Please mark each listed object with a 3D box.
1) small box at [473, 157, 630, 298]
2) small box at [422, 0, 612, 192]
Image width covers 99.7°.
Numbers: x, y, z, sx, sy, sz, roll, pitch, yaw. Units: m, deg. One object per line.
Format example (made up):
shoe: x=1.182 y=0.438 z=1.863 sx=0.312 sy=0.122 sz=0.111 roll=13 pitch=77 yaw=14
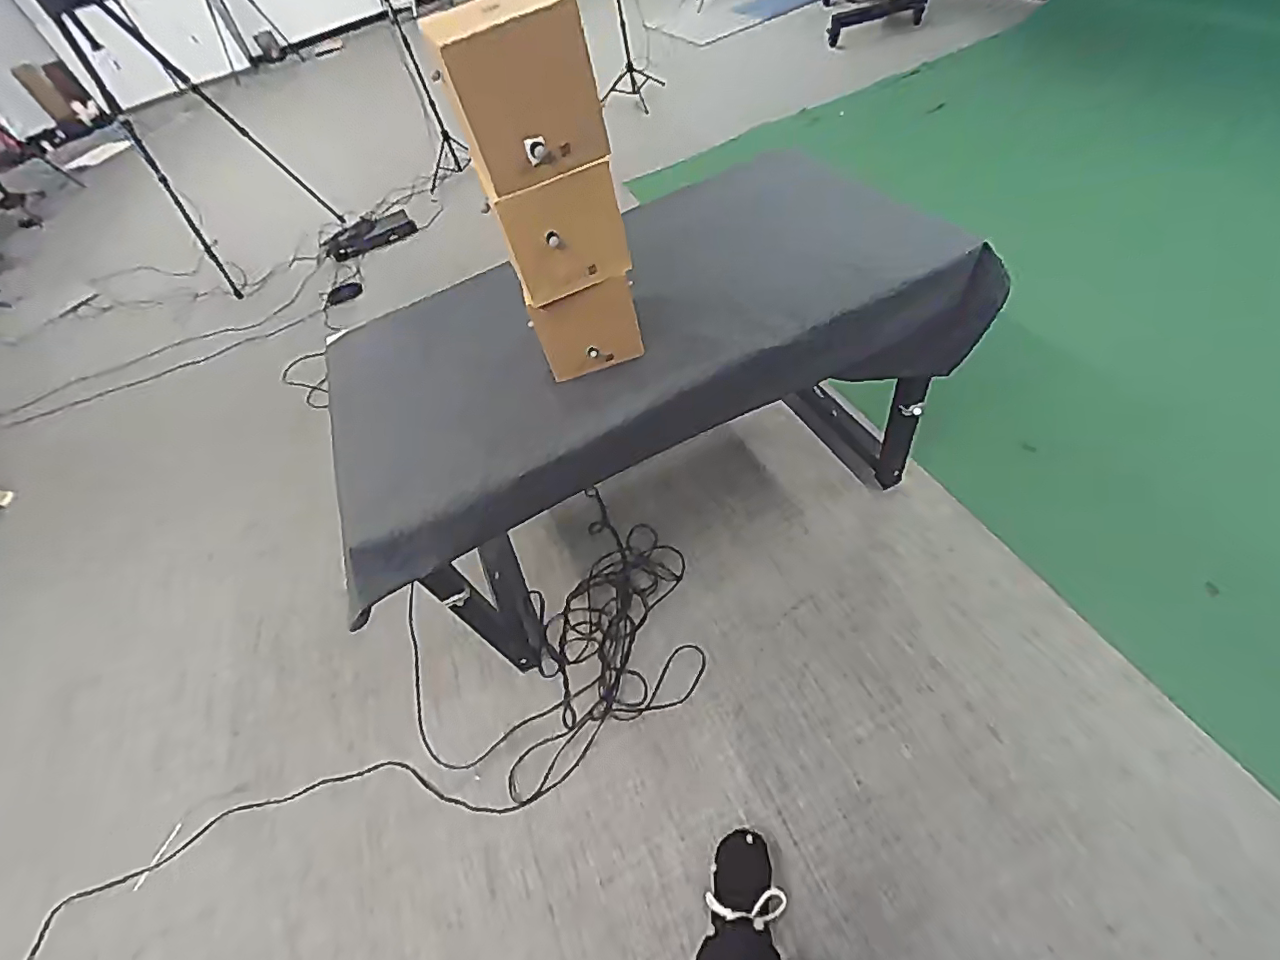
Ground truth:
small box: x=-0.129 y=-0.402 z=0.820 sx=0.168 sy=0.176 sz=0.179 roll=-24 pitch=52 yaw=-5
small box: x=-0.153 y=-0.504 z=0.695 sx=0.168 sy=0.176 sz=0.179 roll=-26 pitch=52 yaw=-5
